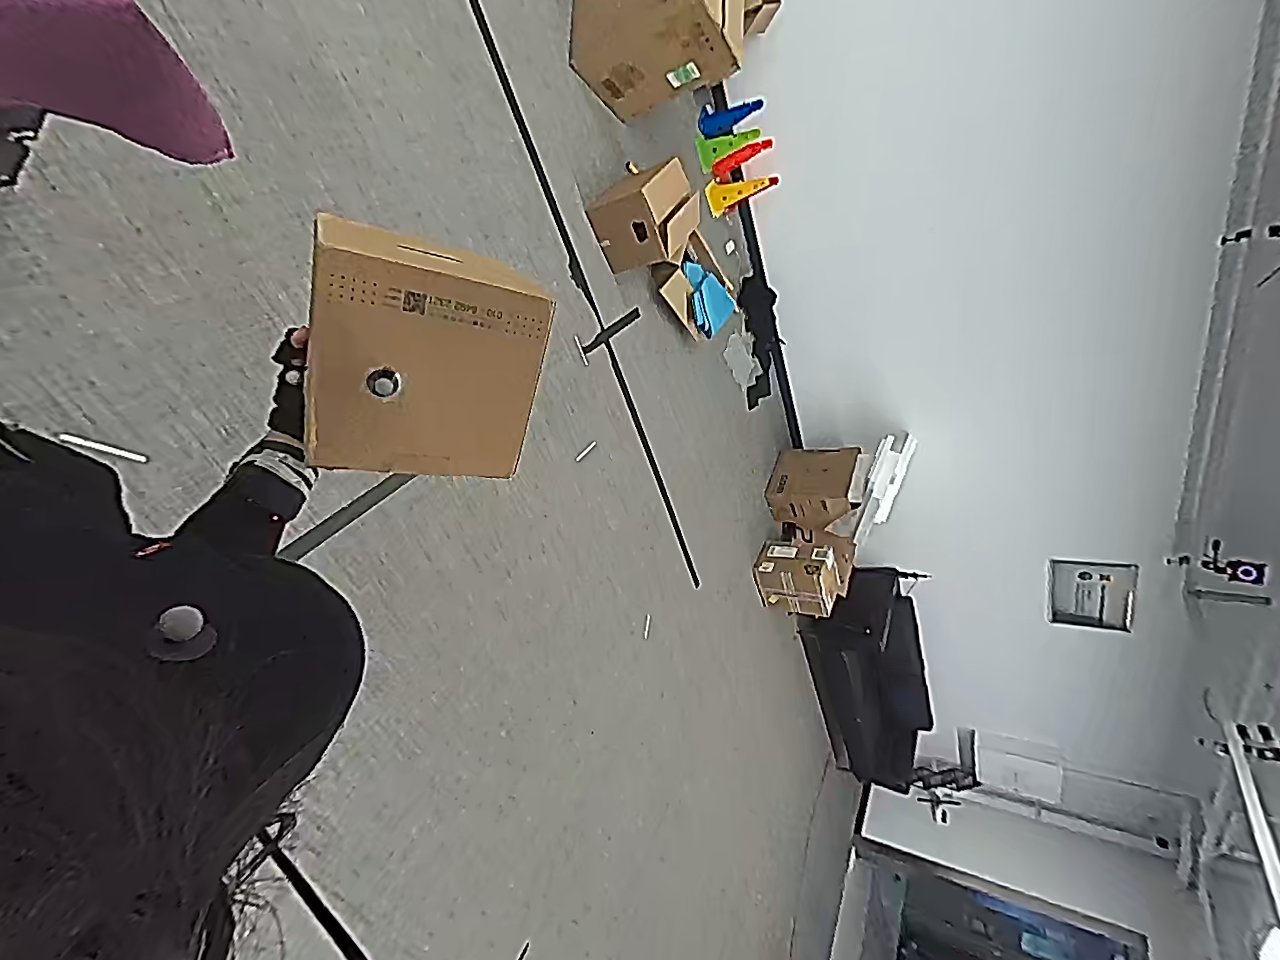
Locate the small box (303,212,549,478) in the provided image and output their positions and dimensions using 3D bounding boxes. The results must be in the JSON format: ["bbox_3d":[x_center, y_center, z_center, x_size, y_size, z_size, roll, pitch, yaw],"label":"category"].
[{"bbox_3d":[-0.193,-0.118,0.474,0.168,0.179,0.176,5,117,-34],"label":"small box"}]
